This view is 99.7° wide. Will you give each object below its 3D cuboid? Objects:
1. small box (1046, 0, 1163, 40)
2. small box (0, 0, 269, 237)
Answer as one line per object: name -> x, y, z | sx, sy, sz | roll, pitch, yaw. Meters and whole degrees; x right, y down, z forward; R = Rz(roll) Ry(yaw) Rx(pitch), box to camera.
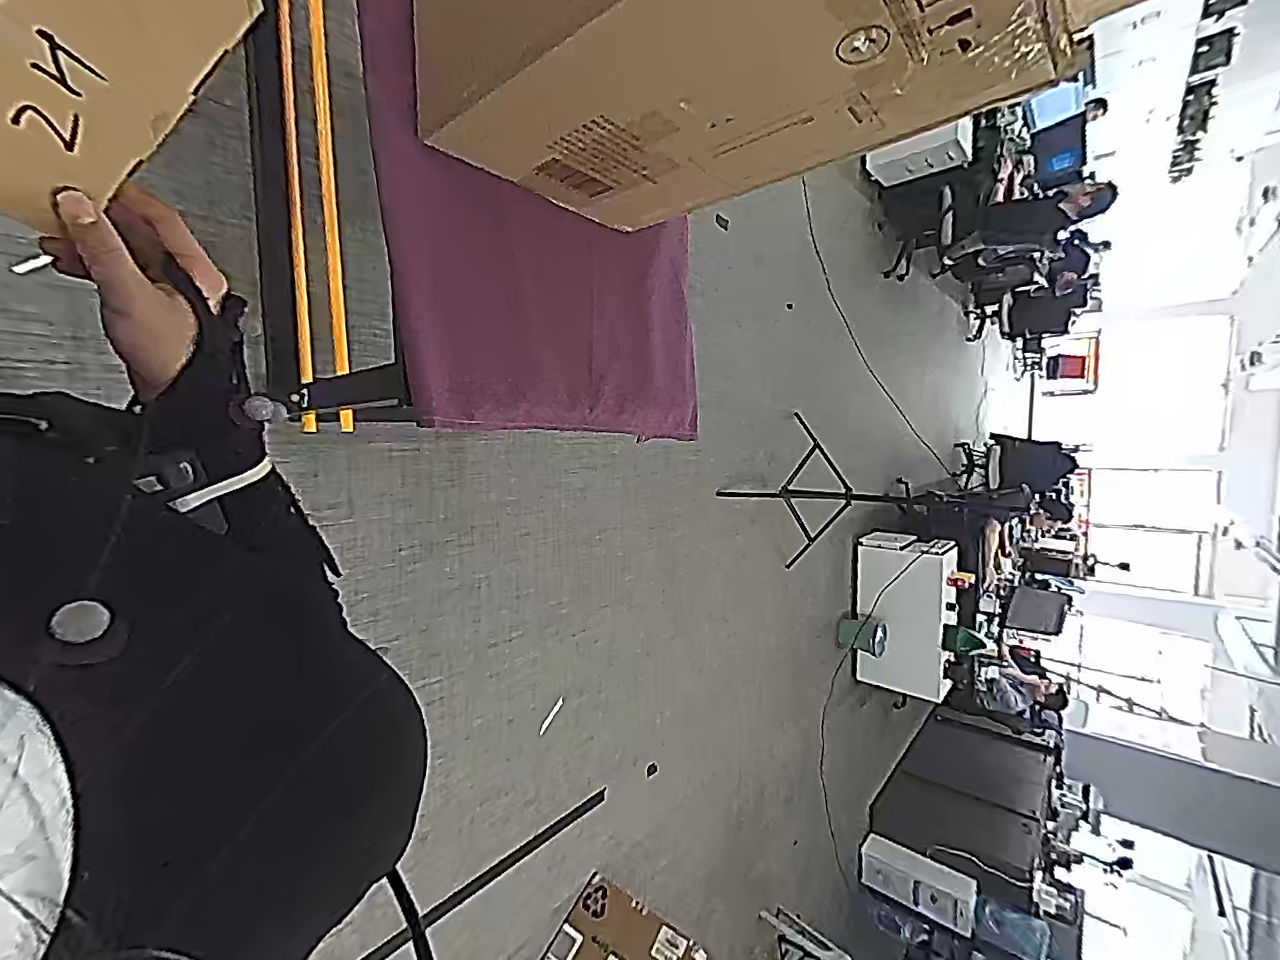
small box -> 0.439, -0.525, 0.447 | 0.168, 0.176, 0.179 | -12, 100, -49
small box -> -0.321, -0.250, 0.221 | 0.168, 0.176, 0.179 | -50, 168, 4
